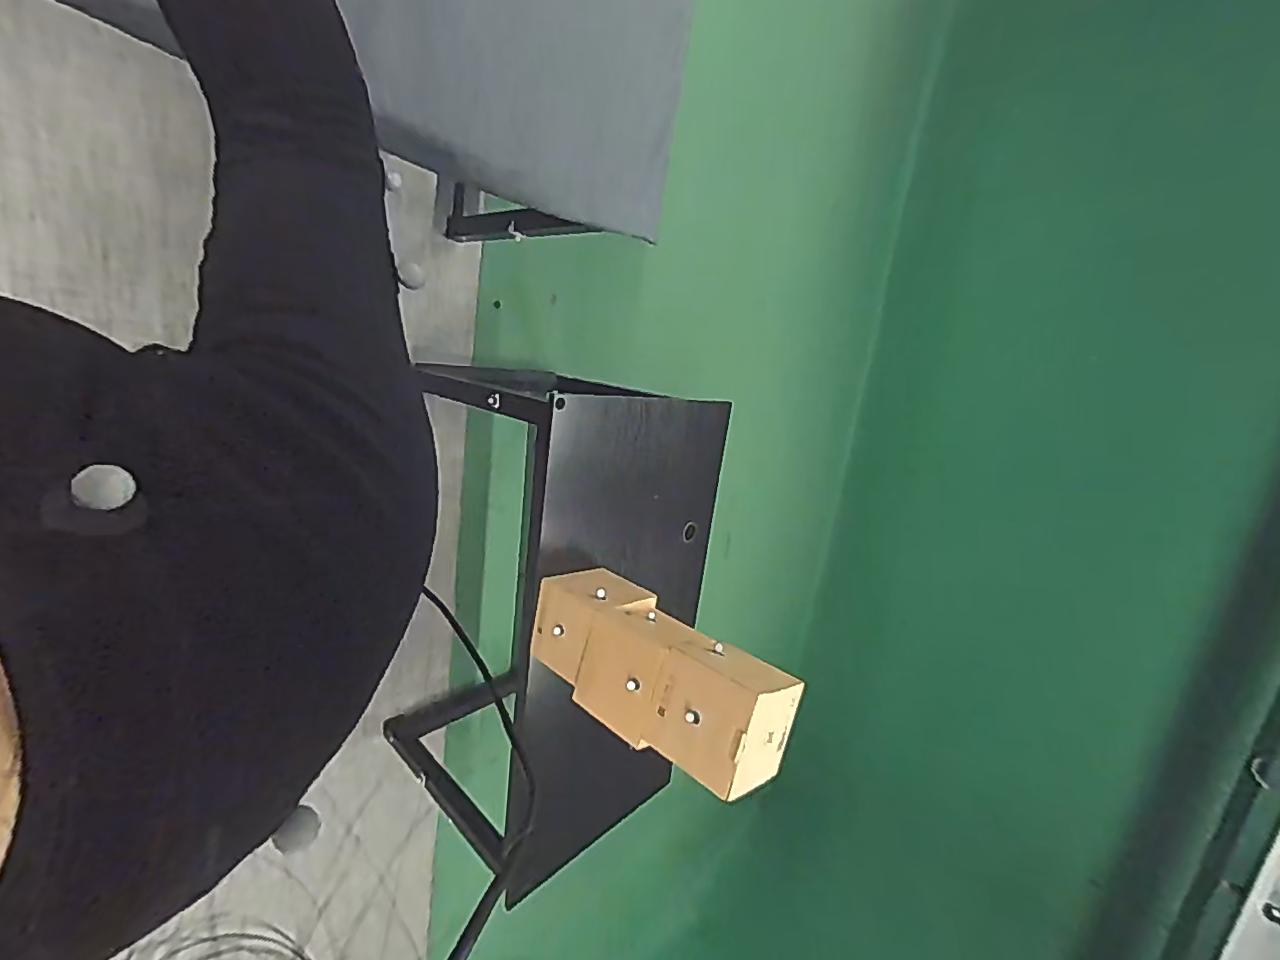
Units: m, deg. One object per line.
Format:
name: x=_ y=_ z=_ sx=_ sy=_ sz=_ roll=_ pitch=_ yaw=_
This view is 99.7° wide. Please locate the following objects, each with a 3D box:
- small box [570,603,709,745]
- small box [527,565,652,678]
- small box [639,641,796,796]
small box: x=-0.004 y=0.341 z=0.987 sx=0.168 sy=0.176 sz=0.179 roll=12 pitch=96 yaw=-50
small box: x=-0.106 y=0.285 z=1.102 sx=0.179 sy=0.176 sz=0.168 roll=0 pitch=106 yaw=-49
small box: x=0.126 y=0.378 z=0.893 sx=0.179 sy=0.176 sz=0.168 roll=17 pitch=91 yaw=-49
